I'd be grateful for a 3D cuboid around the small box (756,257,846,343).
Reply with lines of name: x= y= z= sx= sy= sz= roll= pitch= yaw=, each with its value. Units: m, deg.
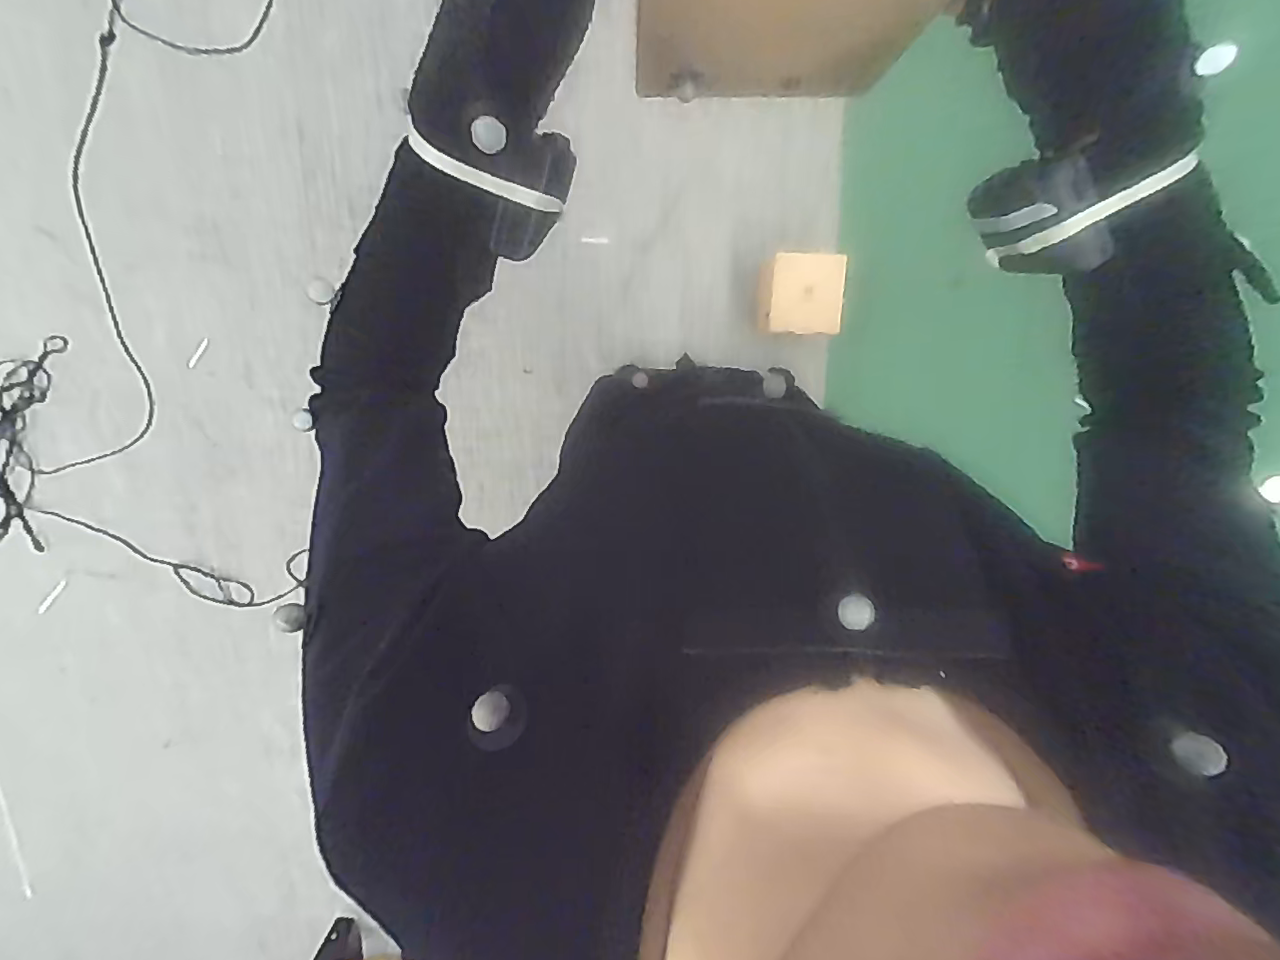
small box: x=0.384 y=-0.433 z=1.319 sx=0.168 sy=0.176 sz=0.179 roll=2 pitch=101 yaw=1
